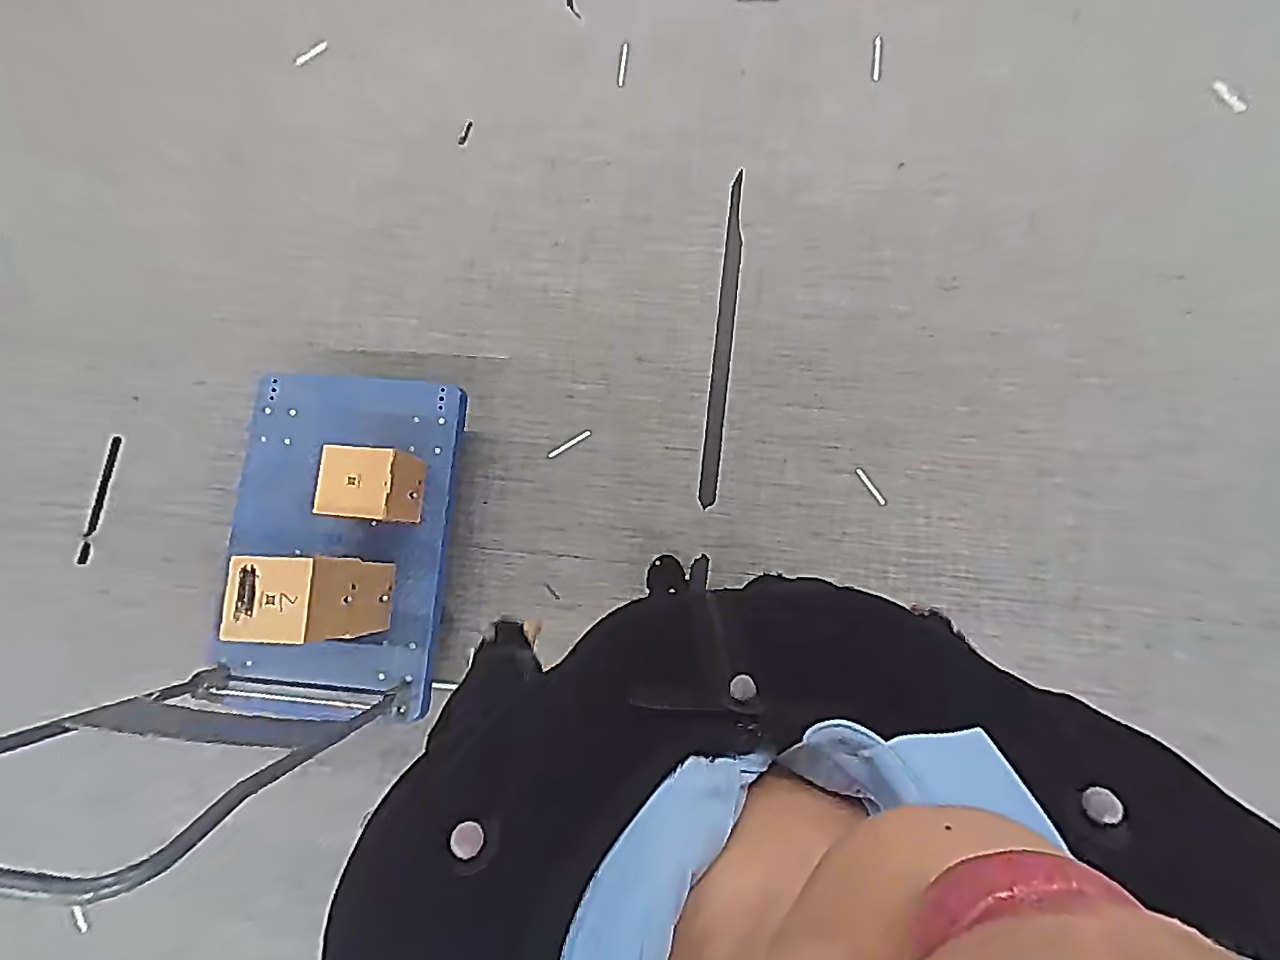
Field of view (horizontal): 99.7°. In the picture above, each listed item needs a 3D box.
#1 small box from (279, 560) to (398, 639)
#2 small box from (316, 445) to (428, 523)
[{"bbox_3d":[-0.712,0.279,1.293,0.179,0.176,0.168,3,82,4],"label":"small box"},{"bbox_3d":[-0.651,0.016,1.329,0.179,0.176,0.168,4,82,5],"label":"small box"}]
